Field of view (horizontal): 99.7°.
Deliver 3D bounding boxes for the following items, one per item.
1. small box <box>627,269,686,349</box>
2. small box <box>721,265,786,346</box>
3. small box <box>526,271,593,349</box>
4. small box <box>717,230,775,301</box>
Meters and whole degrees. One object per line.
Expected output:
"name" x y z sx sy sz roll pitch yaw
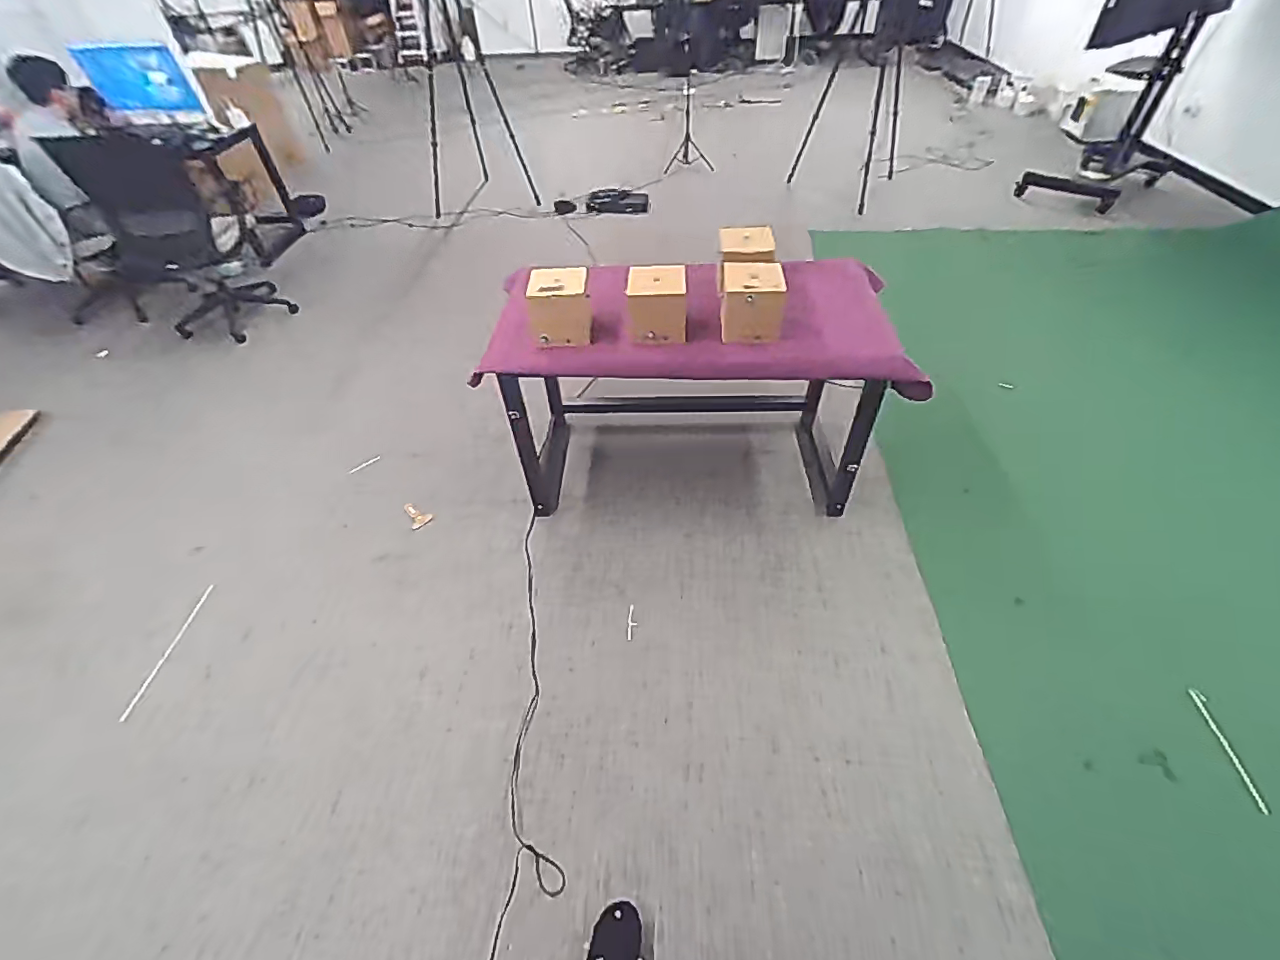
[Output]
"small box" 0.052 -0.511 1.614 0.168 0.176 0.179 -1 47 5
"small box" 0.328 -0.515 1.595 0.168 0.176 0.179 1 46 6
"small box" -0.234 -0.505 1.625 0.168 0.176 0.179 -2 45 2
"small box" 0.340 -0.696 1.764 0.168 0.176 0.179 0 48 5
